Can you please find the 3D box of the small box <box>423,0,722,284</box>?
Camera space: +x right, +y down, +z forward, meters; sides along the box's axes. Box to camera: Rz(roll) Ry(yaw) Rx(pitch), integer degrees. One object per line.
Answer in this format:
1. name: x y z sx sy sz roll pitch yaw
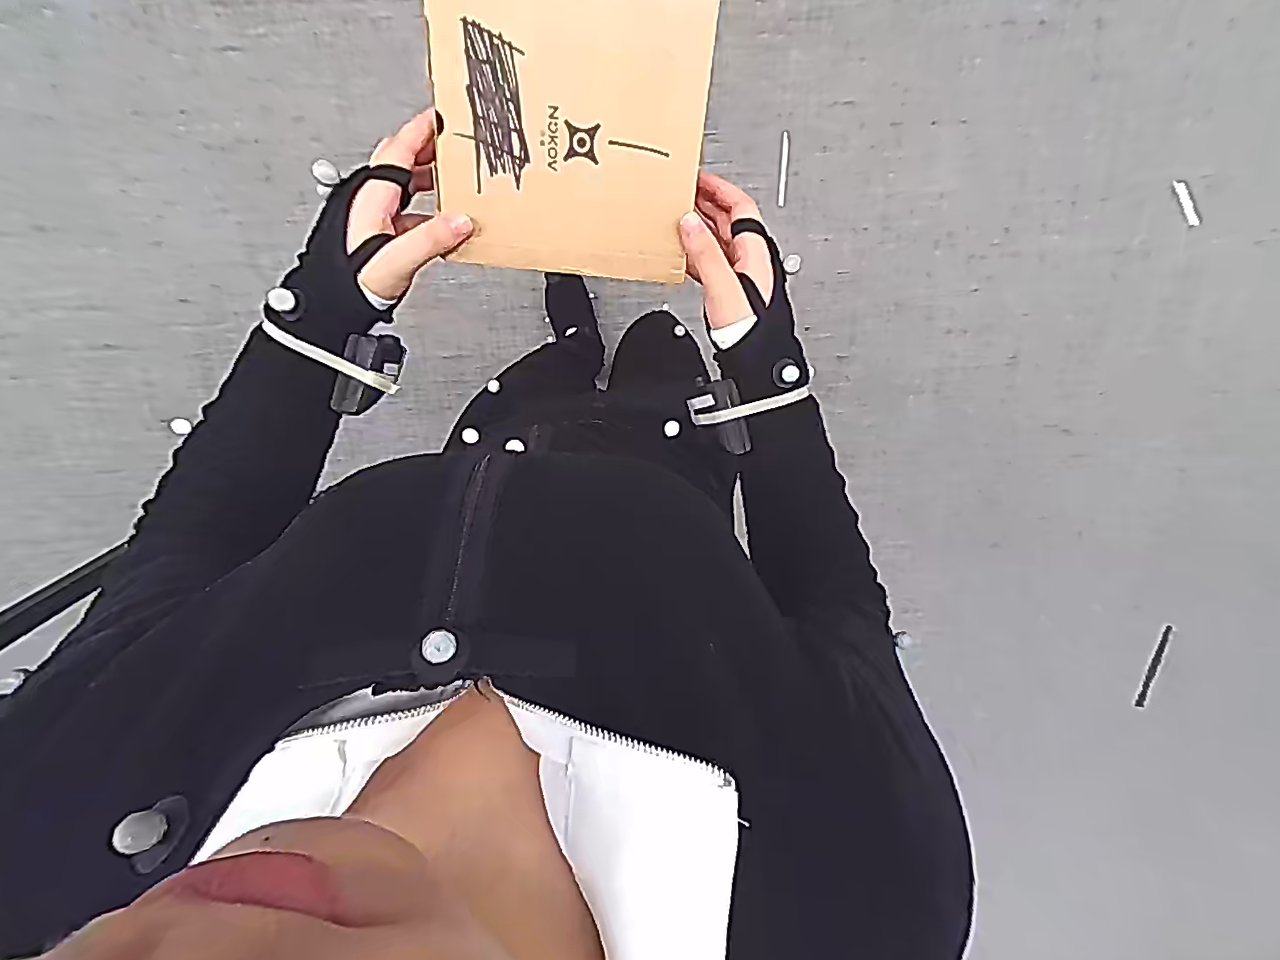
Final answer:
1. small box: -0.050 -0.255 0.416 0.179 0.176 0.168 4 117 -6
